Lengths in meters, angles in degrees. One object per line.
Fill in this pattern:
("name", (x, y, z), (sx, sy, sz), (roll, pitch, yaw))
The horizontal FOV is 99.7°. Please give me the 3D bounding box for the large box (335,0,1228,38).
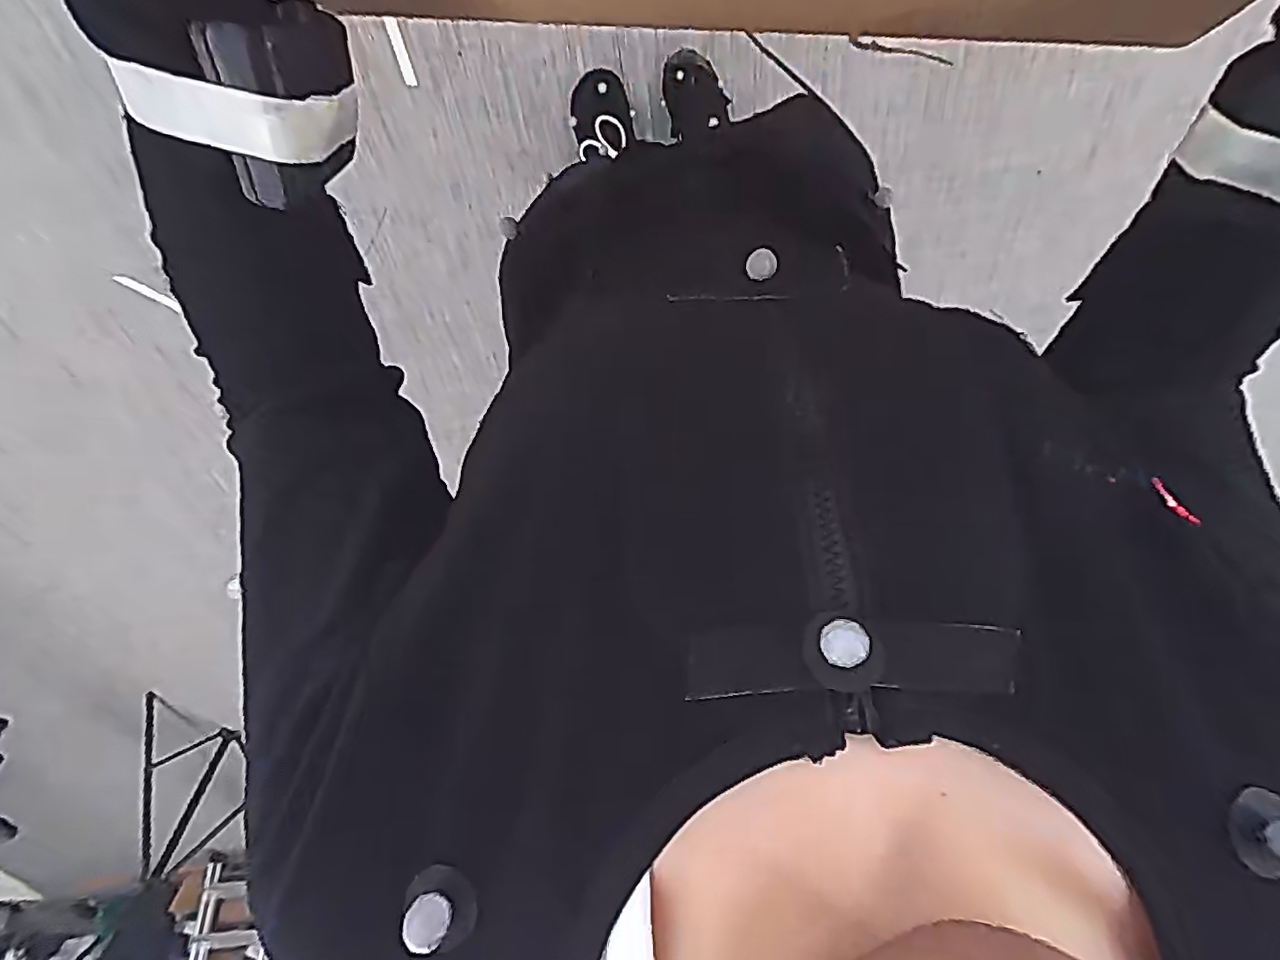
("large box", (0.057, -0.357, 0.098), (0.408, 0.320, 0.320), (2, 94, 0))
